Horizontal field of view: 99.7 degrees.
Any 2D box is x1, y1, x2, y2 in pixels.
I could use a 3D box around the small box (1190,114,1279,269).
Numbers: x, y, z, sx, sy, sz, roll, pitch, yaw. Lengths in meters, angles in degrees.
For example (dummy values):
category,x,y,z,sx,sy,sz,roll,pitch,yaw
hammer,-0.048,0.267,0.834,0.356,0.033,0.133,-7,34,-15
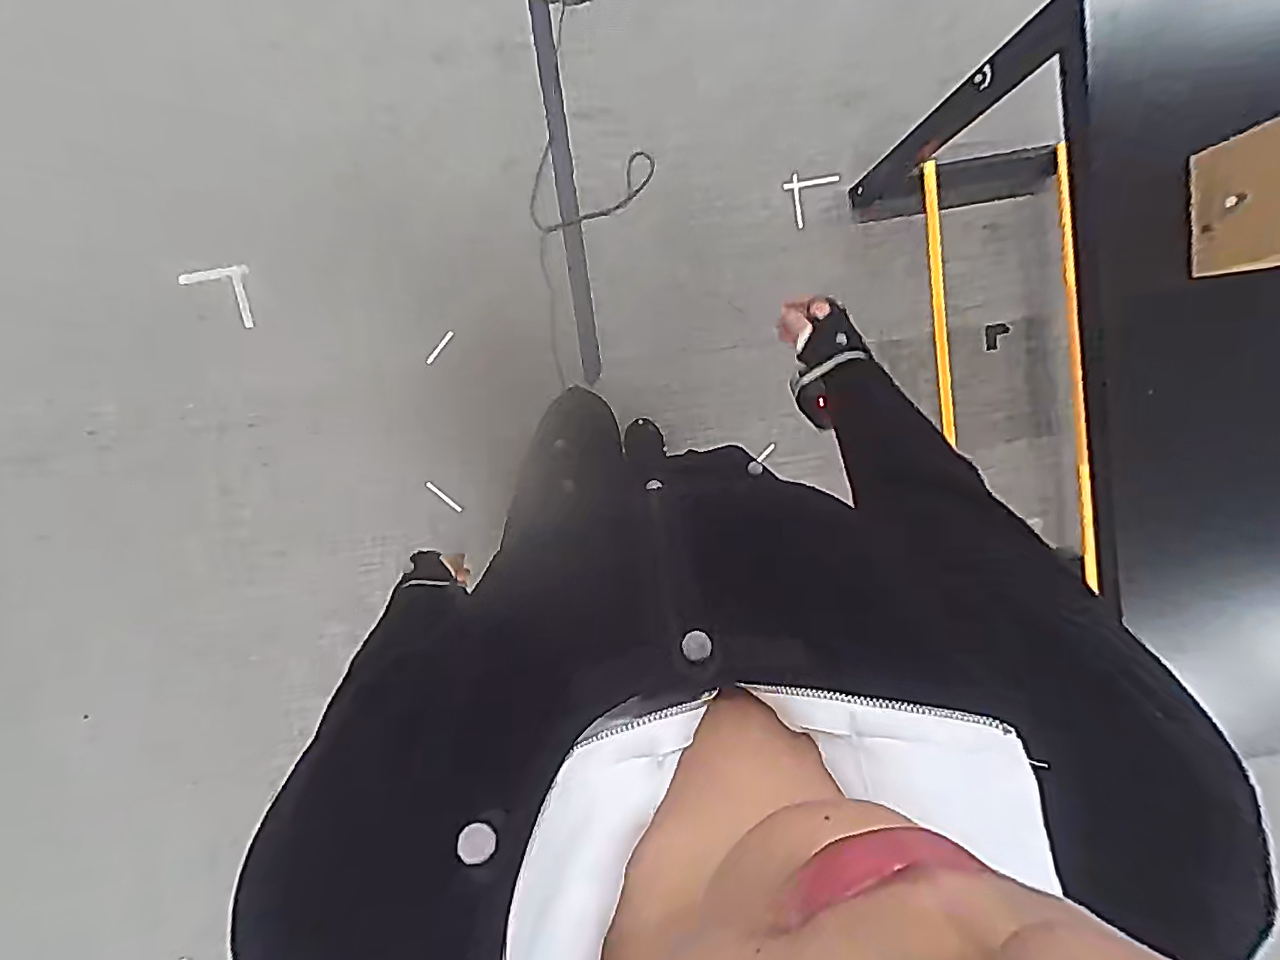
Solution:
category,x,y,z,sx,sy,sz,roll,pitch,yaw
small box,0.861,-0.379,0.680,0.179,0.176,0.168,-9,96,-2
